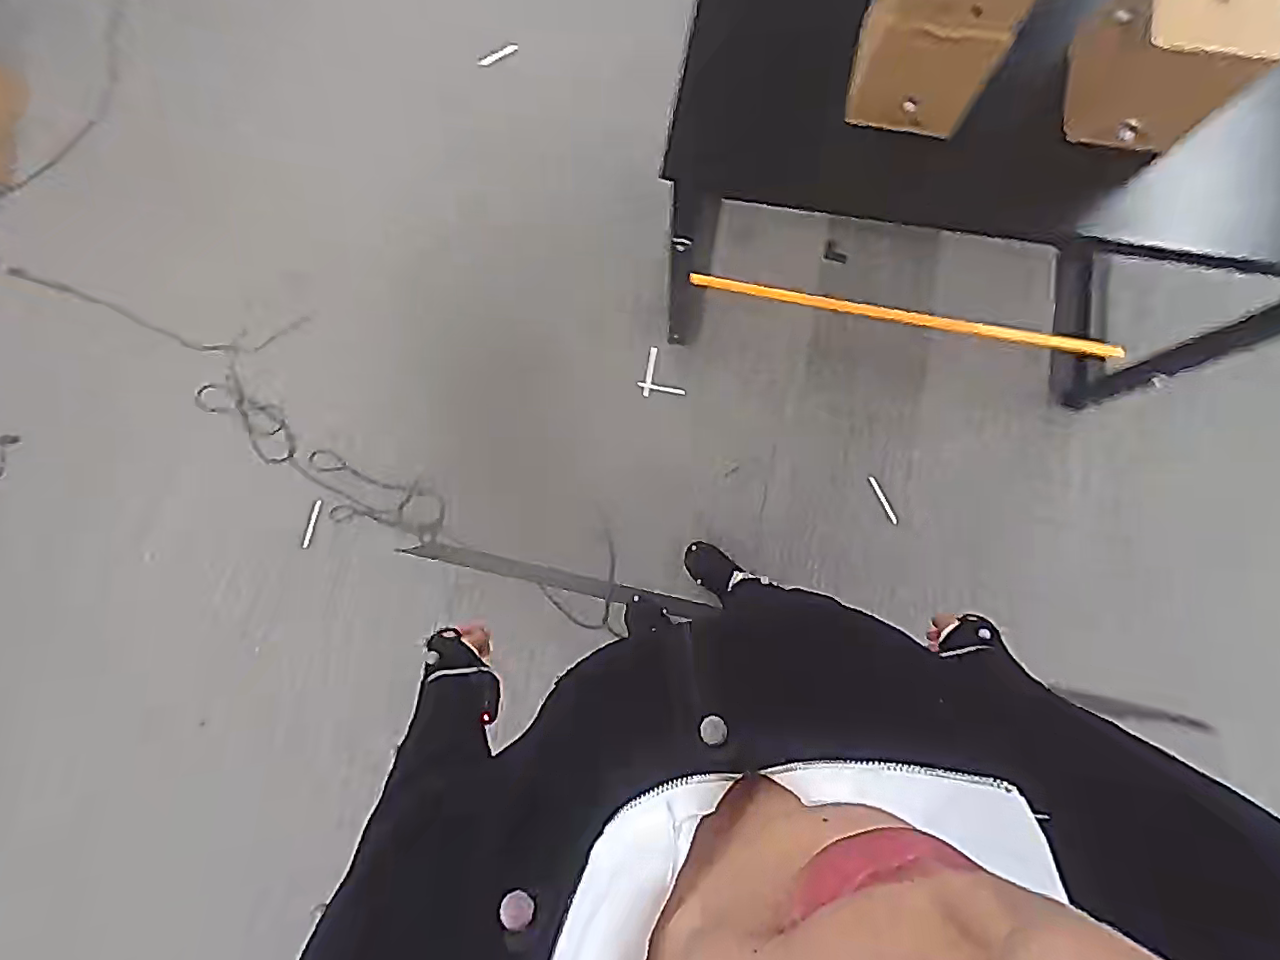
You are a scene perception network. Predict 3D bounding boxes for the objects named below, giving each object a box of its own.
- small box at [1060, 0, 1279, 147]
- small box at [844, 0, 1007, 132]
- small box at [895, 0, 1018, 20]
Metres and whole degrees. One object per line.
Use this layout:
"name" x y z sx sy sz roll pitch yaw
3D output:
"small box" 0.757 -0.633 0.789 0.168 0.176 0.179 9 83 5
"small box" 0.421 -0.670 0.808 0.168 0.176 0.179 12 82 5
"small box" 0.413 -0.705 0.647 0.168 0.176 0.179 9 82 4
